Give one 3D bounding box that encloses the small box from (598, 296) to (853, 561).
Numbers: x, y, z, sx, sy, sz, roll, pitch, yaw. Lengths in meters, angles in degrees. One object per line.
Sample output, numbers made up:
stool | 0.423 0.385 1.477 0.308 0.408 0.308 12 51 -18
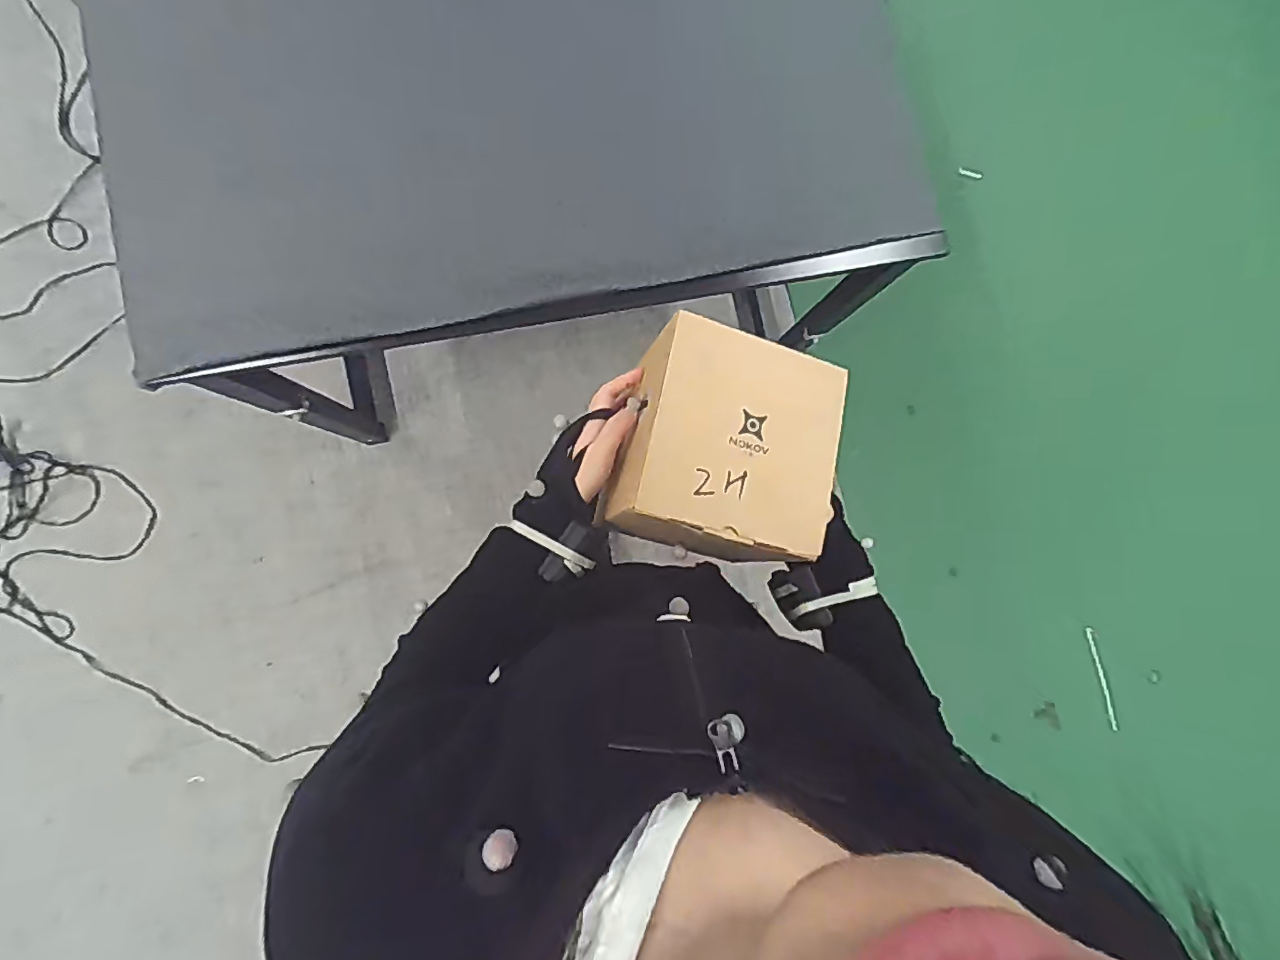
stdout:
small box | 0.067 -0.030 0.502 0.168 0.176 0.179 16 76 -11
